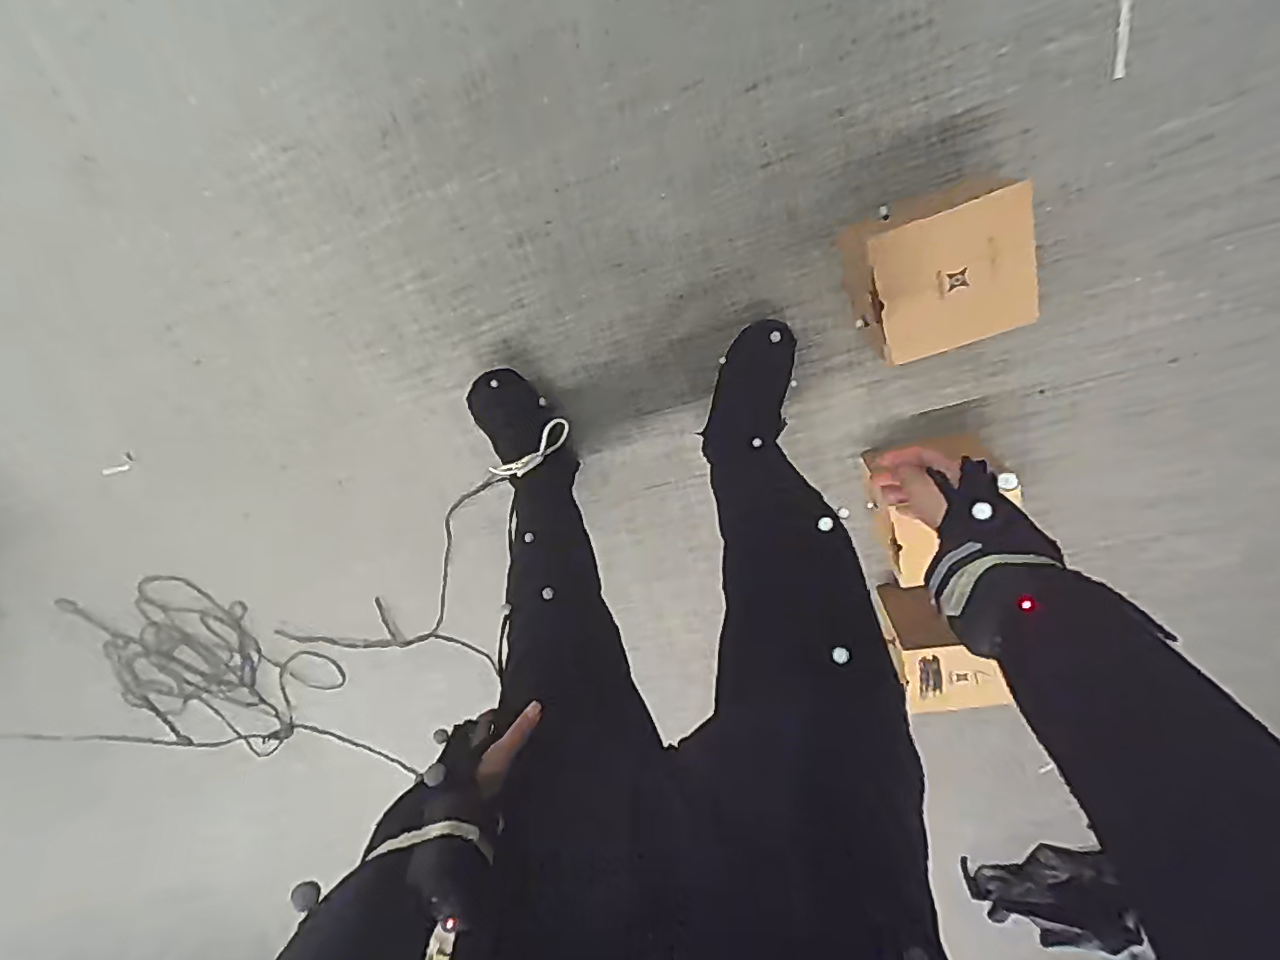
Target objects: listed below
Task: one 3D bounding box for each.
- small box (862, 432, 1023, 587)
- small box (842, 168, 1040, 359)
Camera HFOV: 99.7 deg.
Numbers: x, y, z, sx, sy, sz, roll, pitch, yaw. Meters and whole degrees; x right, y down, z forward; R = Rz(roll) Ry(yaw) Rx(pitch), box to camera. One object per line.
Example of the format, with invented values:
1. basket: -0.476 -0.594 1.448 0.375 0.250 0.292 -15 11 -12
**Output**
1. small box: 0.475 0.041 0.865 0.179 0.176 0.168 -14 117 15
2. small box: 0.373 -0.279 0.697 0.179 0.176 0.168 -17 117 14
